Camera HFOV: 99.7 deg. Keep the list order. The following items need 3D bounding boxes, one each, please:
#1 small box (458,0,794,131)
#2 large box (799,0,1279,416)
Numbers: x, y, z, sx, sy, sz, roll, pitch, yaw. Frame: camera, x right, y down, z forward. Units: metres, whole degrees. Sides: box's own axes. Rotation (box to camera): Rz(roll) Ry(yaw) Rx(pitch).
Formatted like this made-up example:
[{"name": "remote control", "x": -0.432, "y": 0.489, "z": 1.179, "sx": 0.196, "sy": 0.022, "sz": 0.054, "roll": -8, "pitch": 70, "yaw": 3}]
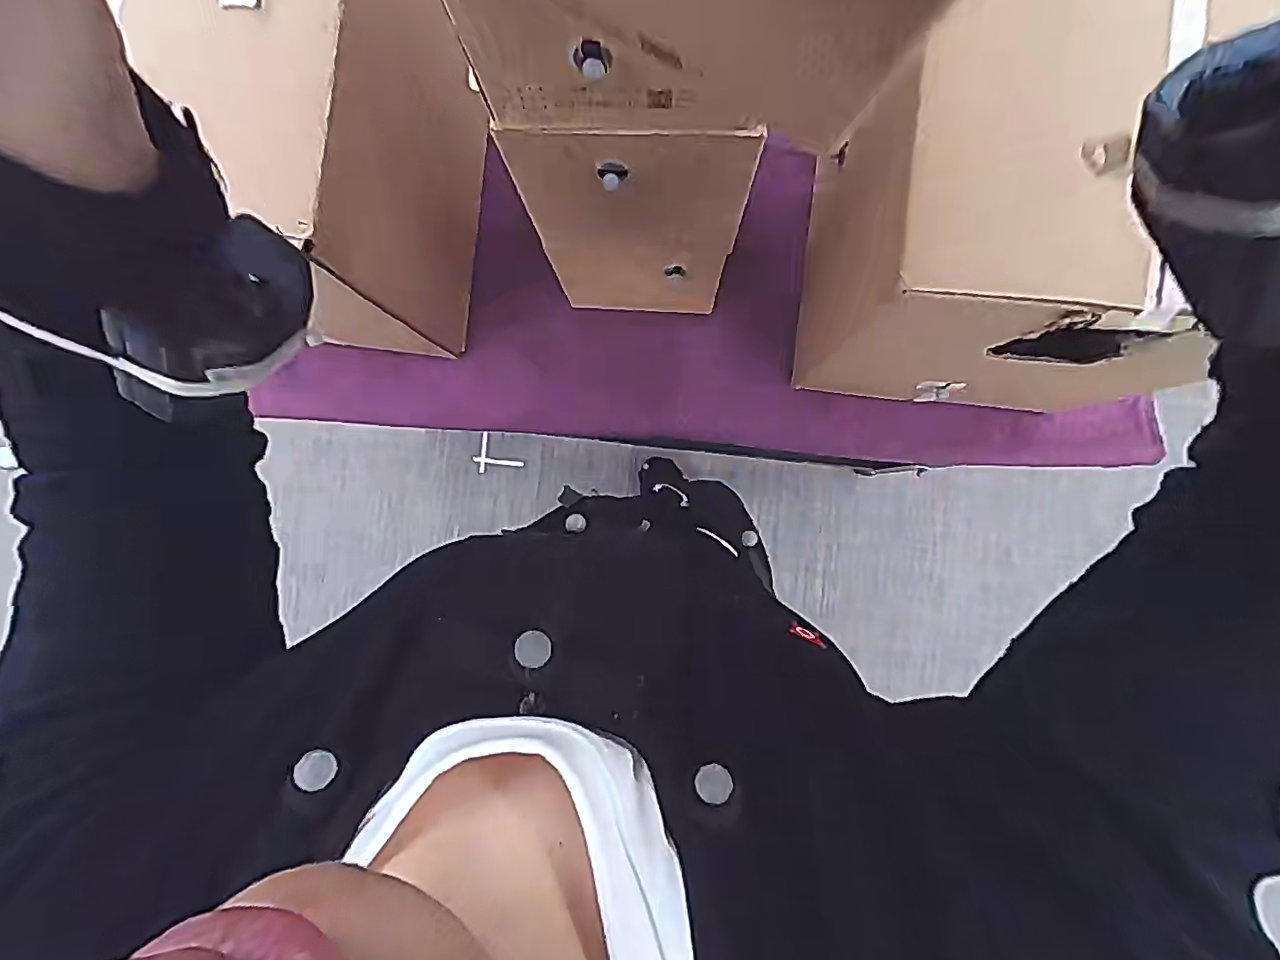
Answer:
[{"name": "small box", "x": -0.008, "y": -0.305, "z": 0.252, "sx": 0.168, "sy": 0.176, "sz": 0.179, "roll": 2, "pitch": 89, "yaw": 2}, {"name": "large box", "x": 0.345, "y": -0.288, "z": 0.495, "sx": 0.320, "sy": 0.320, "sz": 0.408, "roll": 6, "pitch": 87, "yaw": 2}]
